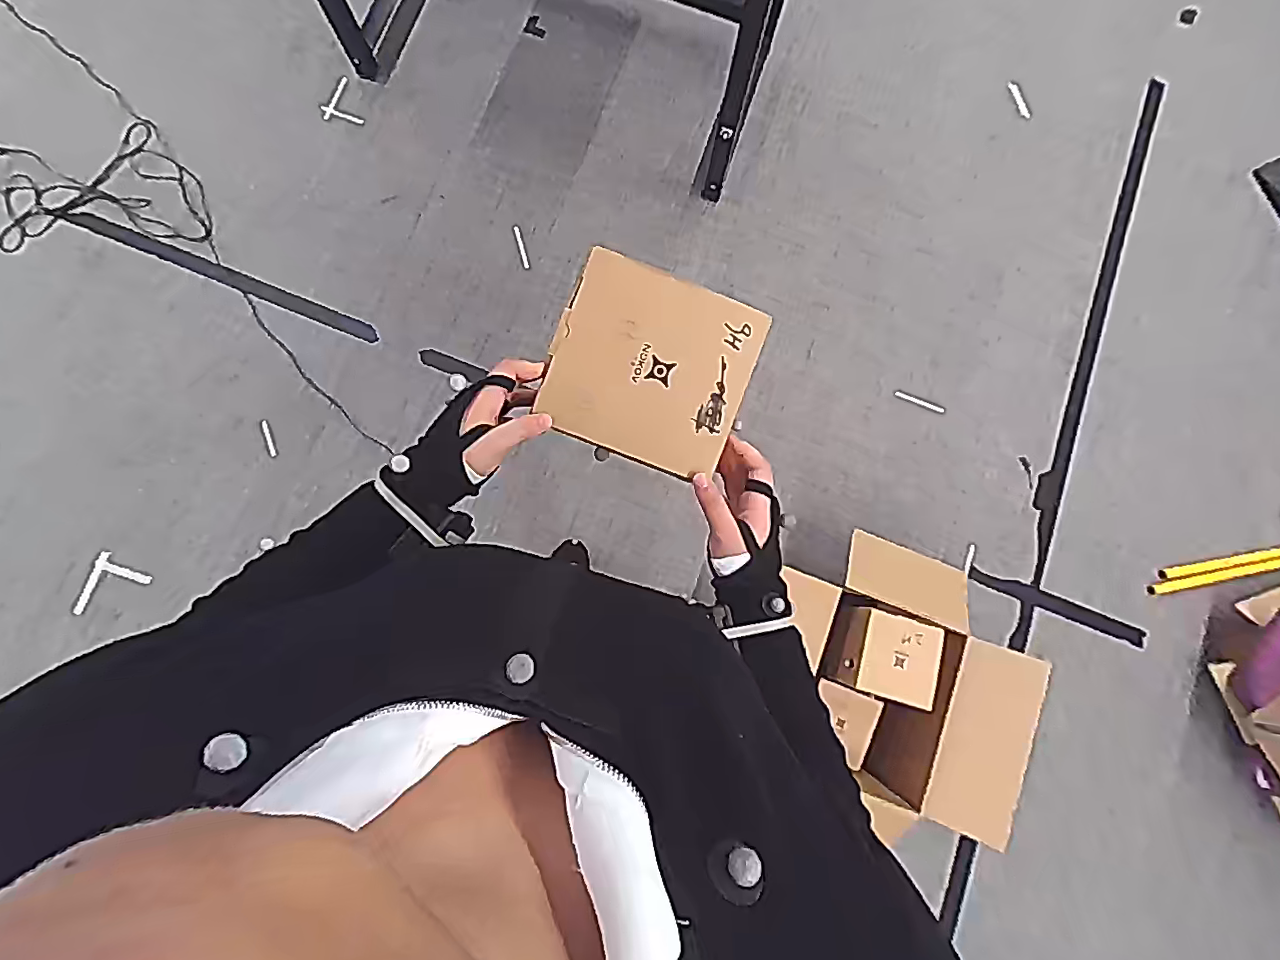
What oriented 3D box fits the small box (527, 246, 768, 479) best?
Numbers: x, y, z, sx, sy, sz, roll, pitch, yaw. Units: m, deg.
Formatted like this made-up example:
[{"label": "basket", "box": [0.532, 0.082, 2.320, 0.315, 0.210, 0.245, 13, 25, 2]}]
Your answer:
[{"label": "small box", "box": [0.005, -0.105, 0.563, 0.179, 0.176, 0.168, 21, 91, -2]}]
